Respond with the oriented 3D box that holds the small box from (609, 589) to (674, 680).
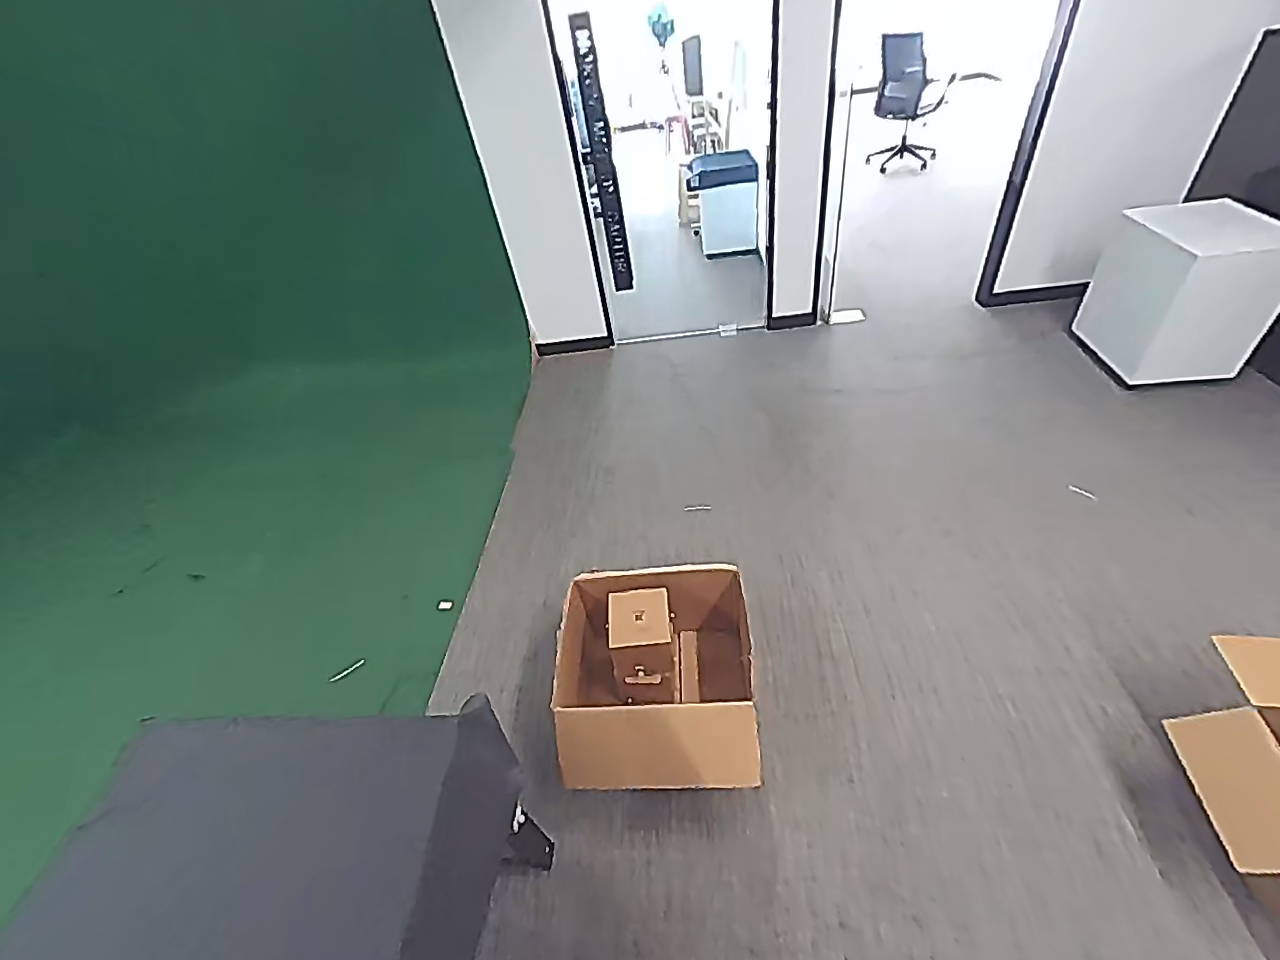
[{"bbox_3d":[0.004,0.429,1.503,0.168,0.176,0.179,-6,43,1],"label":"small box"}]
